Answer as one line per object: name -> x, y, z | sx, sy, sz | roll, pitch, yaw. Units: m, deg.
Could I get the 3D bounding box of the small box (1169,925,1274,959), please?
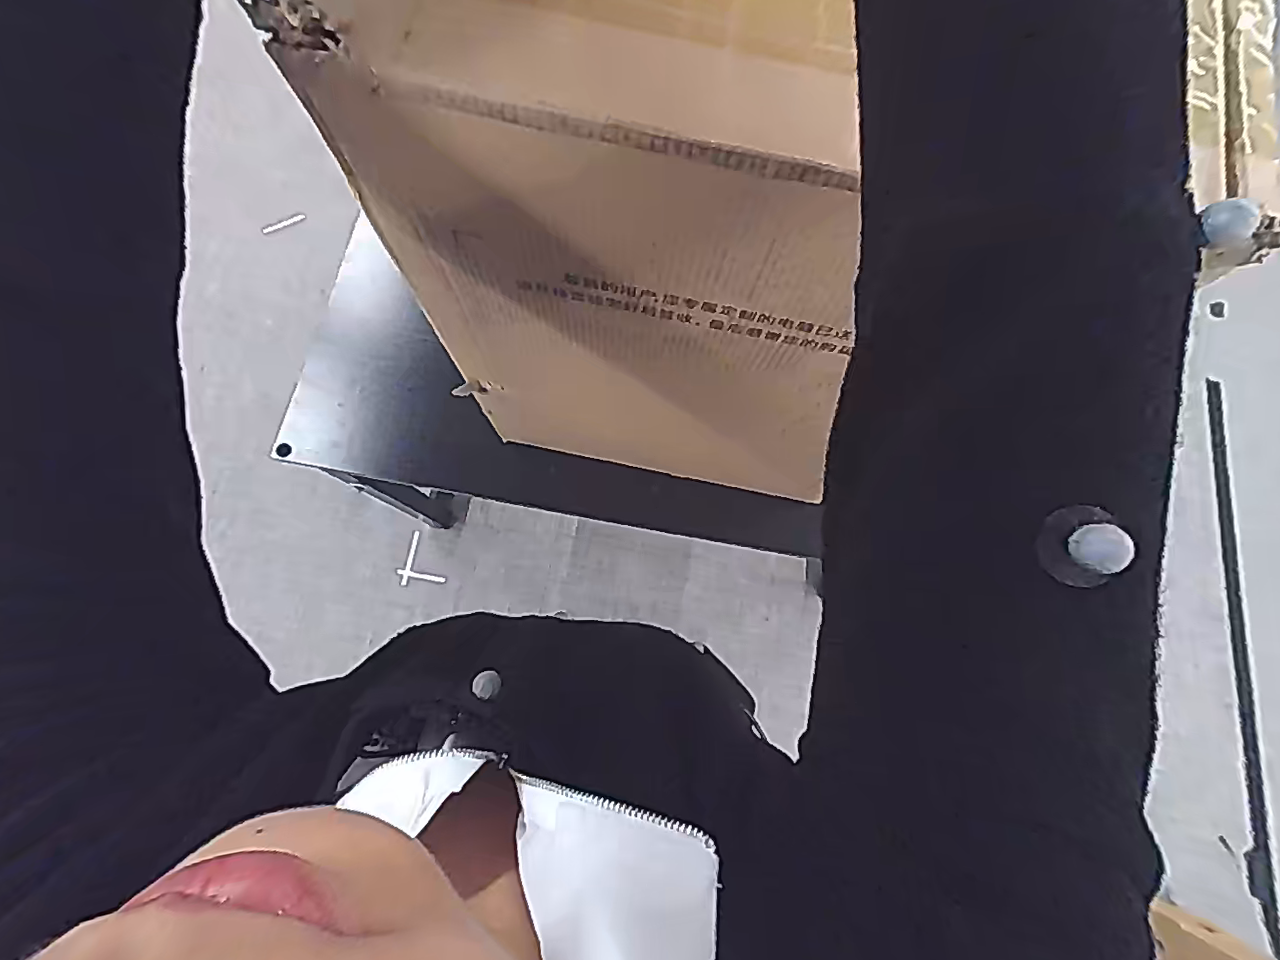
small box -> 1.305, 1.111, 1.165 | 0.179, 0.176, 0.168 | 14, 76, 1

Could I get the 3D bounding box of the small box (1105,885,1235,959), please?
small box -> 1.293, 1.143, 1.326 | 0.168, 0.176, 0.179 | 15, 76, 1
